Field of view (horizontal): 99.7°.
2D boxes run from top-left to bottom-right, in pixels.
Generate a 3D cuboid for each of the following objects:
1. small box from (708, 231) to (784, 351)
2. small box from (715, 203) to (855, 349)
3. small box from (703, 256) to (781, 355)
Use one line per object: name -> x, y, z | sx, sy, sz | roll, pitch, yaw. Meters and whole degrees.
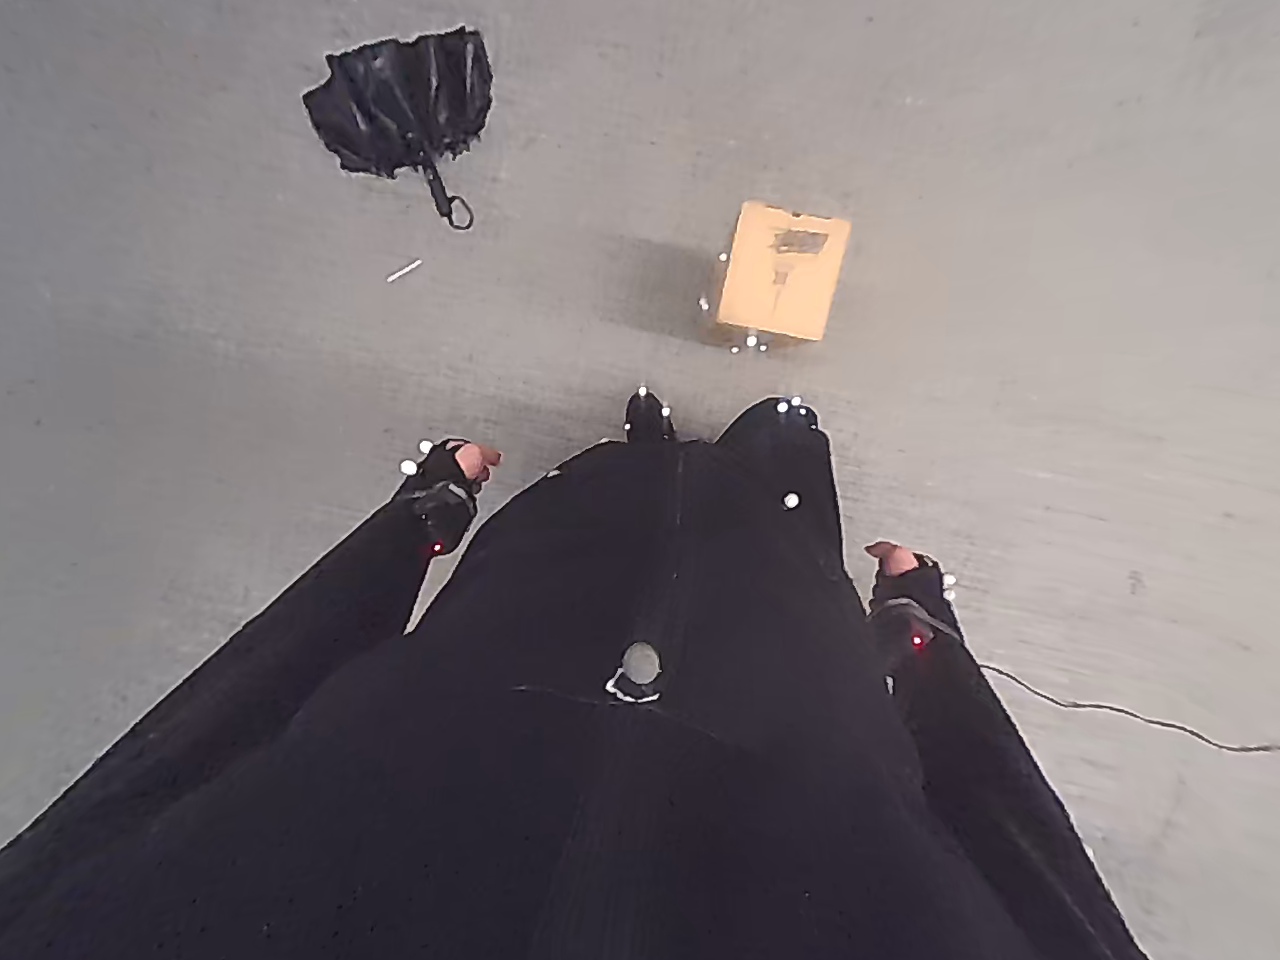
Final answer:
small box -> 0.229, -0.353, 1.046 | 0.168, 0.176, 0.179 | 11, 99, 1
small box -> 0.222, -0.321, 0.884 | 0.168, 0.176, 0.179 | 12, 101, 1
small box -> 0.238, -0.380, 1.205 | 0.168, 0.176, 0.179 | 11, 101, 1
